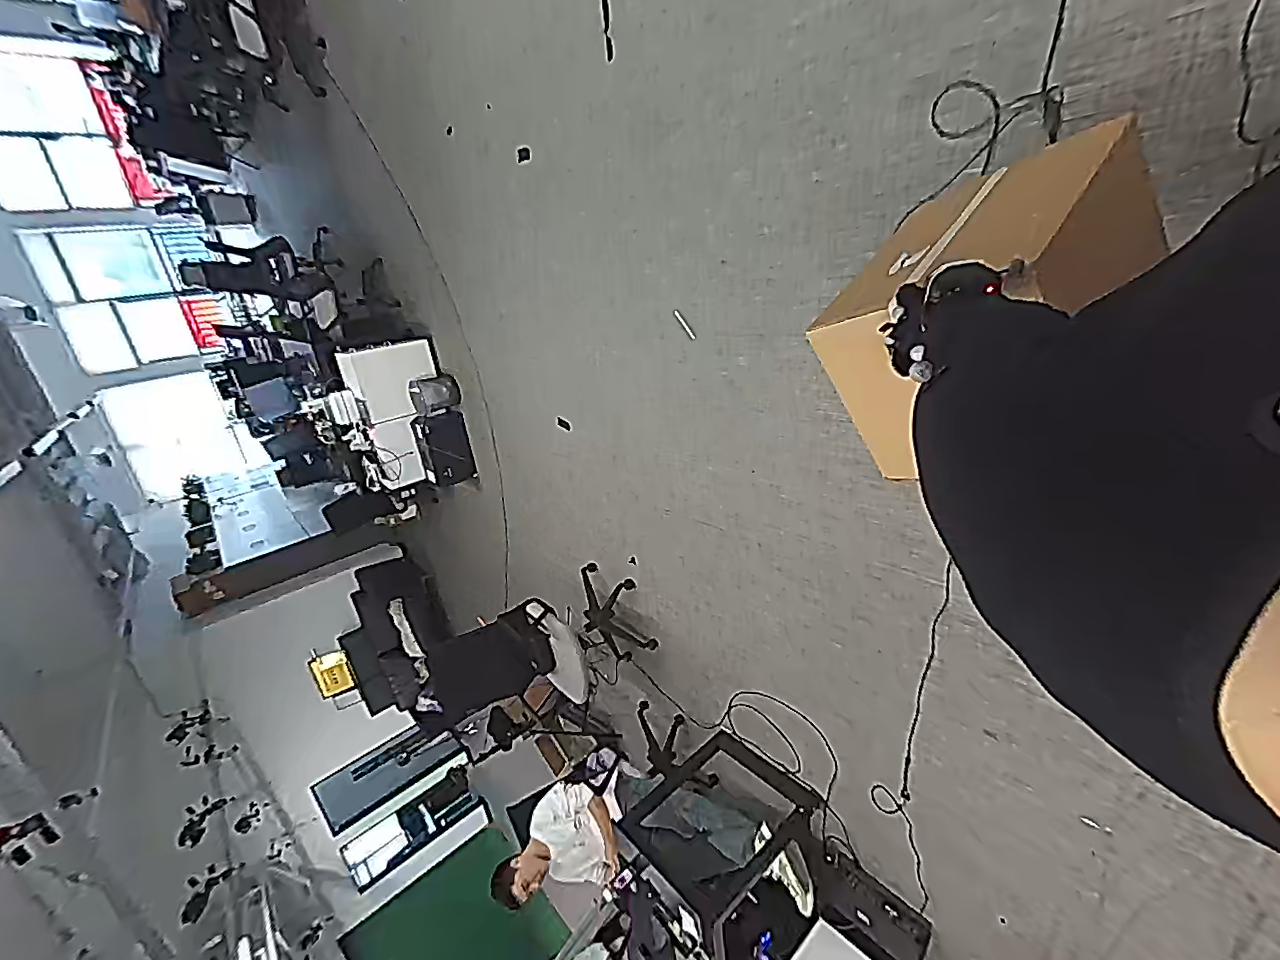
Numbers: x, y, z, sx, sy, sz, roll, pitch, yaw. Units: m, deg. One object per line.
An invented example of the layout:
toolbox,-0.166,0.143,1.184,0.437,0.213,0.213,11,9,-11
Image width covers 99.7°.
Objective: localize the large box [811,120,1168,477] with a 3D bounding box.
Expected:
large box,0.550,-0.252,0.844,0.320,0.408,0.320,51,156,-20
